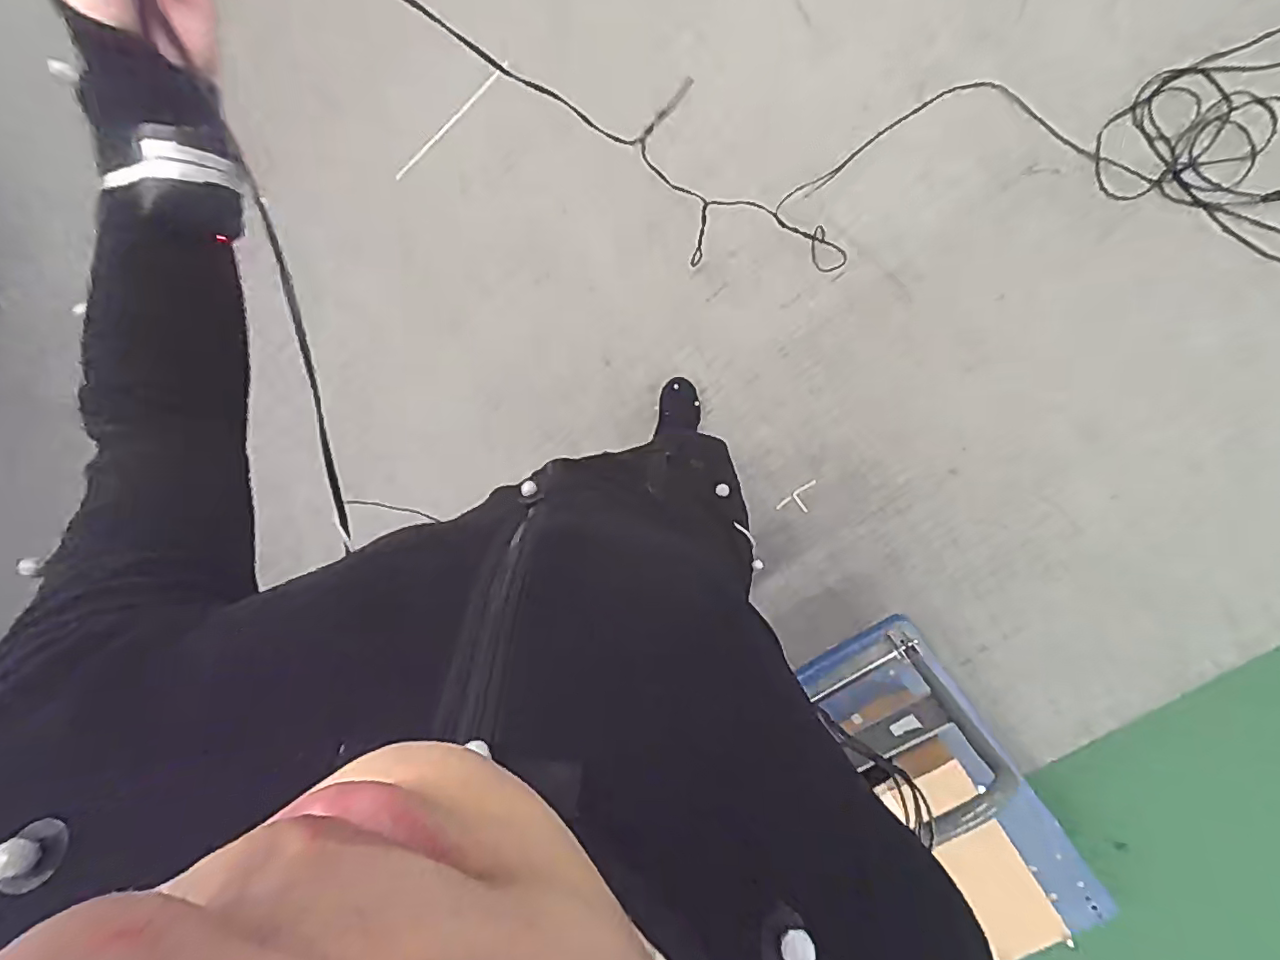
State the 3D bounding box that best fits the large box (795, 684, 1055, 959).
[{"bbox_3d":[0.610,0.766,1.242,0.320,0.320,0.408,-33,89,11],"label":"large box"}]
